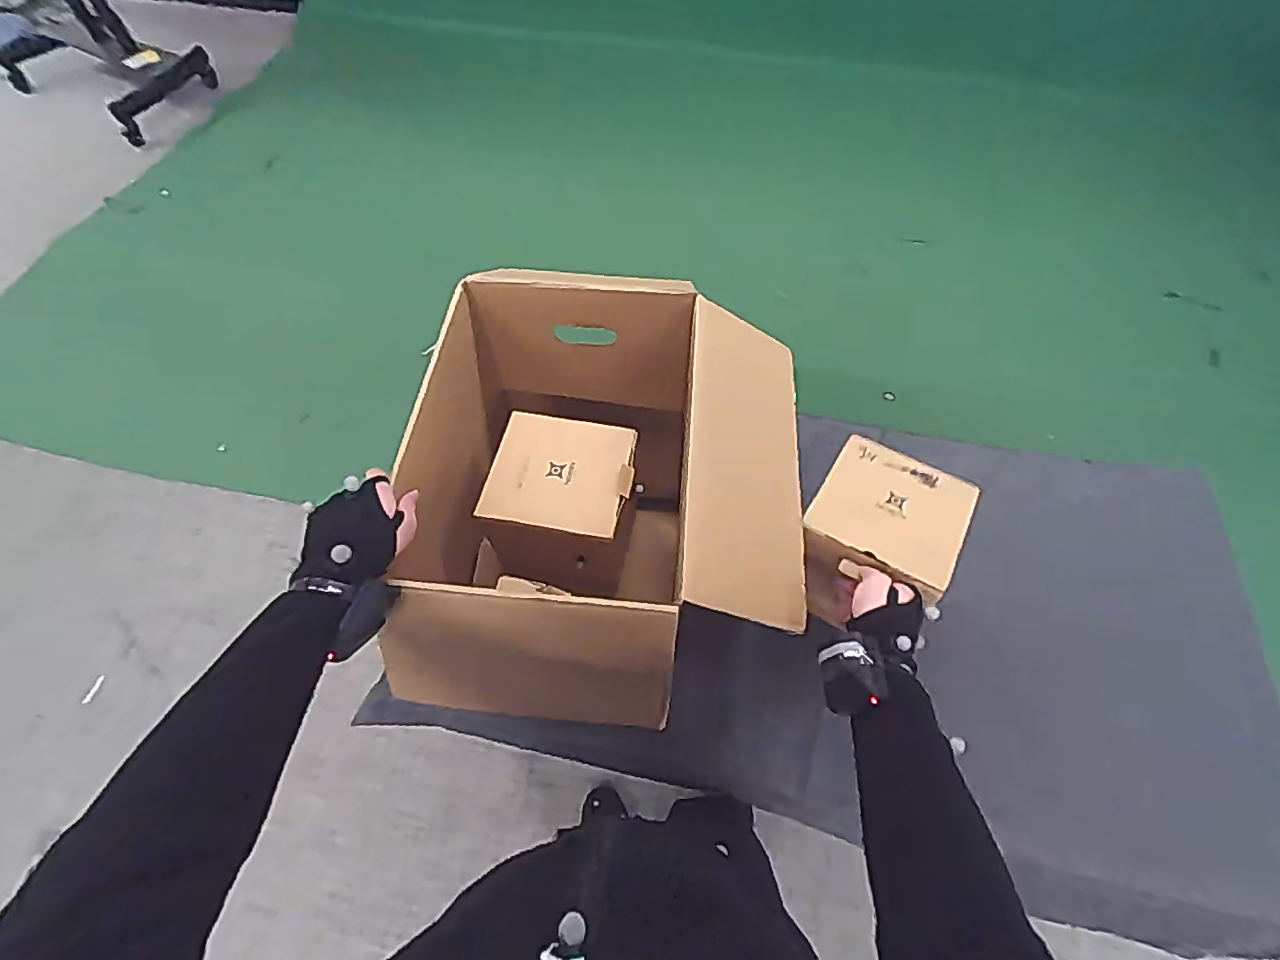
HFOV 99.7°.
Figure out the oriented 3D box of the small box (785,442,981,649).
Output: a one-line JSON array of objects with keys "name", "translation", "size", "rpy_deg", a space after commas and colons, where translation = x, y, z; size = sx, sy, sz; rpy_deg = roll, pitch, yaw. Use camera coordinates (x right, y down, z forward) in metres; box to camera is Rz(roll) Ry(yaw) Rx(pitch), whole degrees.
[{"name": "small box", "translation": [0.307, 0.089, 0.717], "size": [0.168, 0.176, 0.179], "rpy_deg": [29, 56, 23]}]
